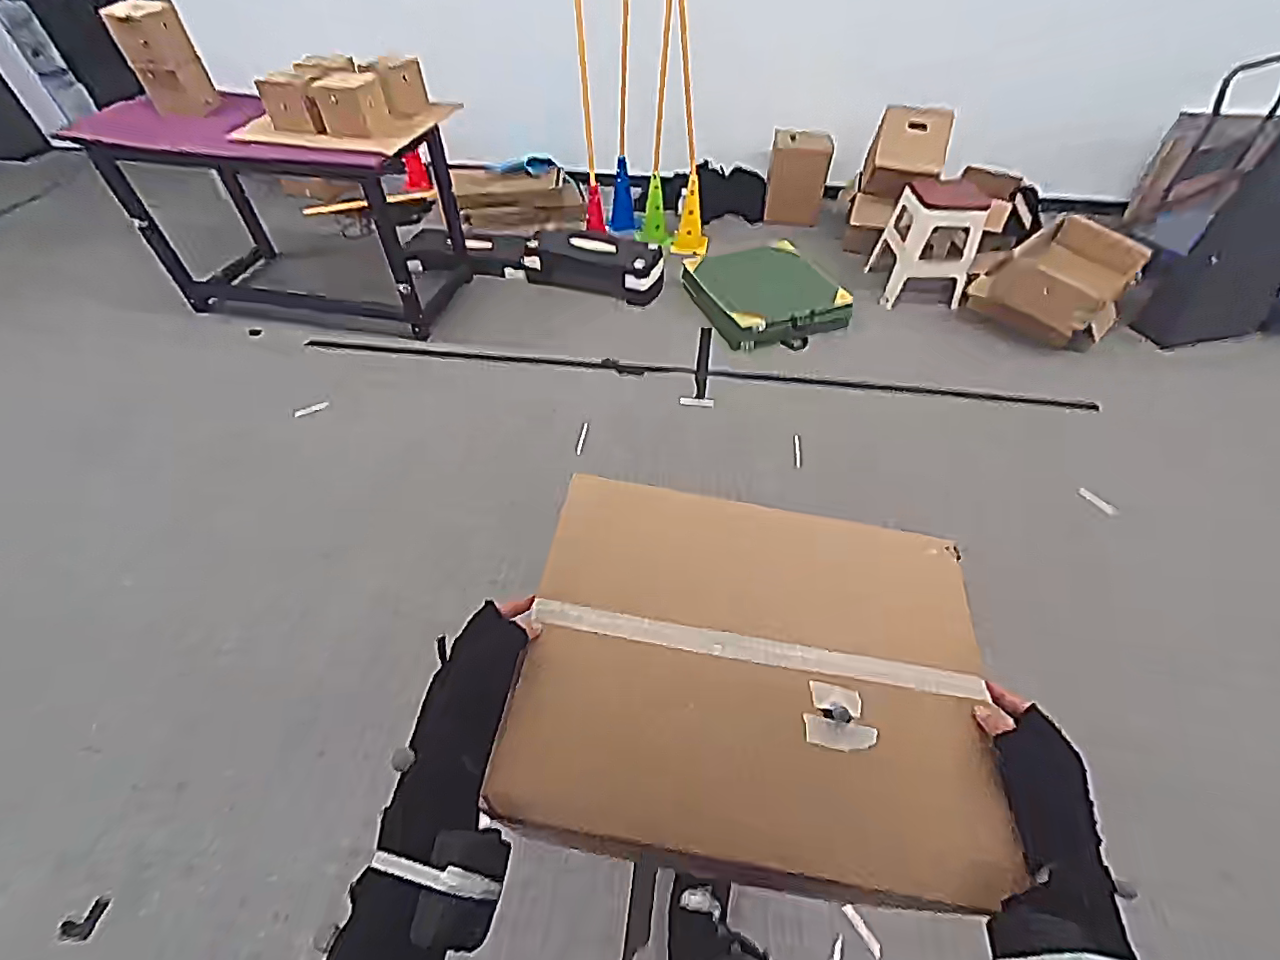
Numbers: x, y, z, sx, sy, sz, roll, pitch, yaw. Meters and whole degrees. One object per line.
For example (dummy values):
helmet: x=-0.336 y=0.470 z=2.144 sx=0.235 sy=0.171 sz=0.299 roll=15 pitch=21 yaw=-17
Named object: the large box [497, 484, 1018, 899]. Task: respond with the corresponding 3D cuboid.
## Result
large box: x=0.092 y=0.243 z=0.607 sx=0.408 sy=0.320 sz=0.320 roll=10 pitch=54 yaw=1
